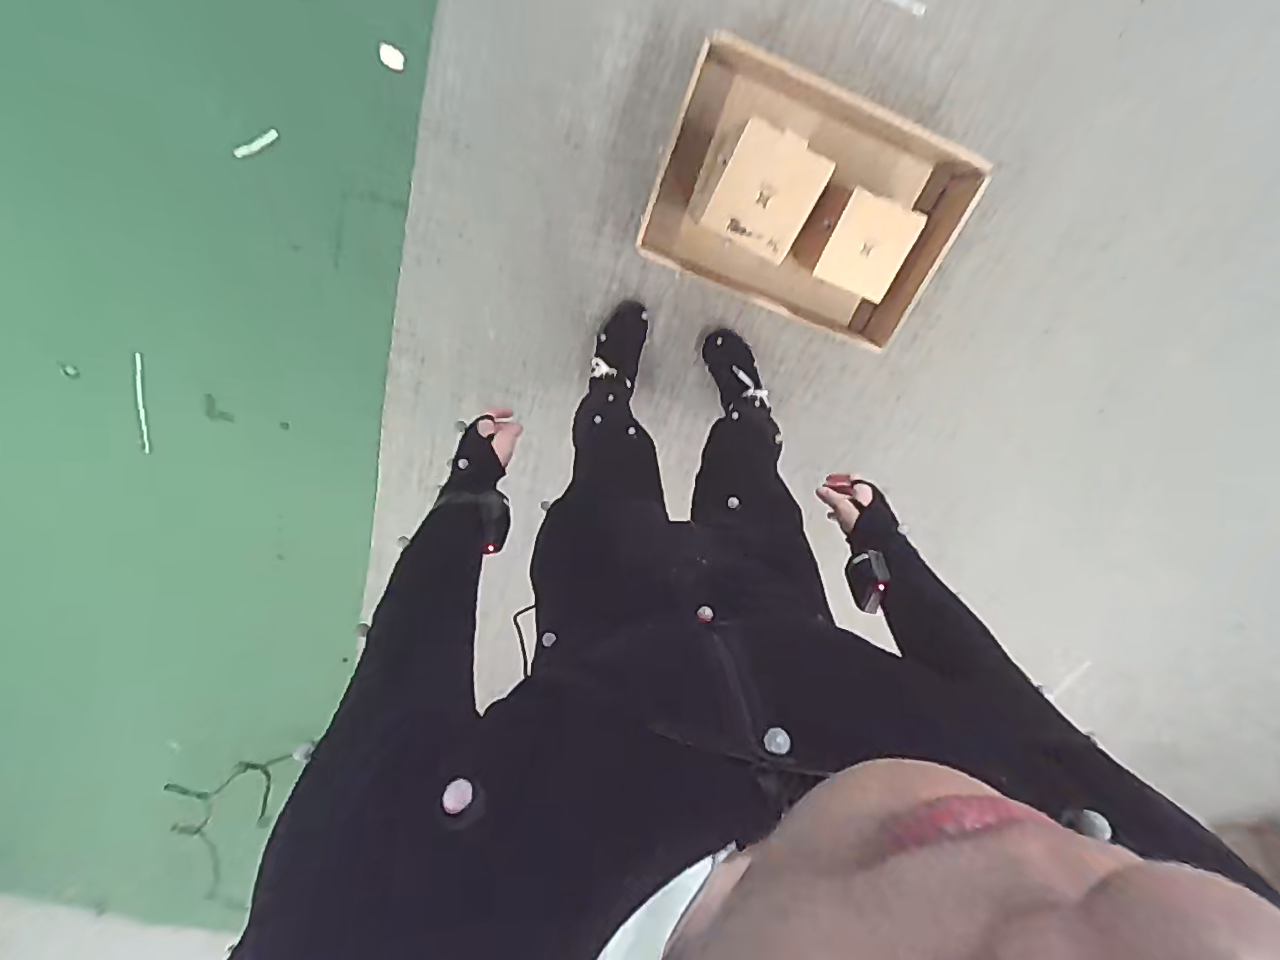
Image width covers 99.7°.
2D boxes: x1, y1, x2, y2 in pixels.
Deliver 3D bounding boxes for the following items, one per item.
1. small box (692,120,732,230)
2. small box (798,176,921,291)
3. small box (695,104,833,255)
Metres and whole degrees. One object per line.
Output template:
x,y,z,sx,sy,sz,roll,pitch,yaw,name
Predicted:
0.215,-0.617,1.128,0.168,0.176,0.179,16,118,-10,small box
0.461,-0.537,1.174,0.168,0.176,0.179,18,118,-9,small box
0.210,-0.540,0.983,0.168,0.176,0.179,23,116,-12,small box
